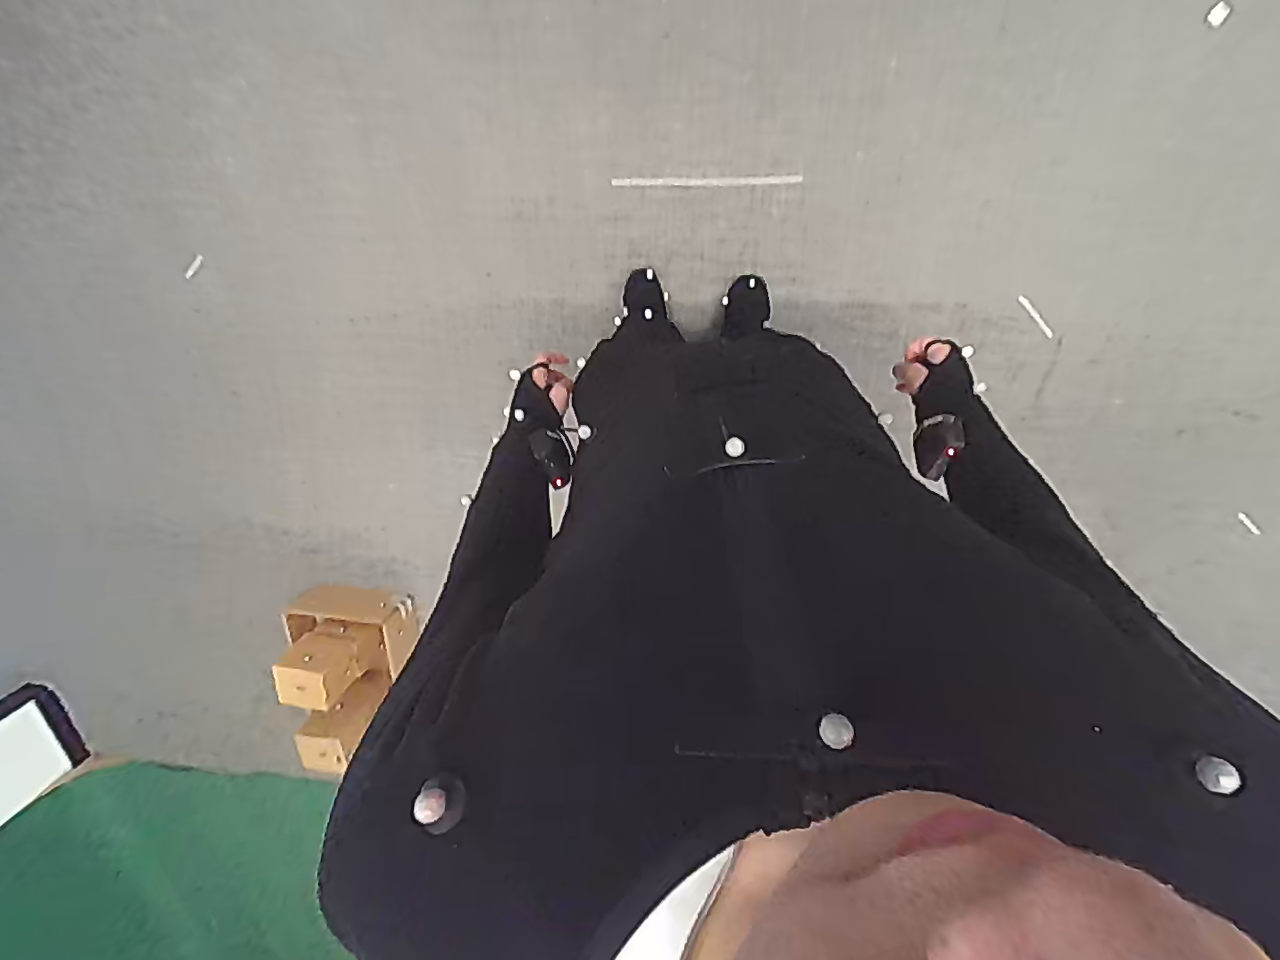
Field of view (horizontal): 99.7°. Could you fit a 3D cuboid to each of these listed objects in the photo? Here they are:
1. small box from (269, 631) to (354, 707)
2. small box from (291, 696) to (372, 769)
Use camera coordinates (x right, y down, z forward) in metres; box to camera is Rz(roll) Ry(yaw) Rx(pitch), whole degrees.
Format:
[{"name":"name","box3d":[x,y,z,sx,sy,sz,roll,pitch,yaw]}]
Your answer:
[{"name":"small box","box3d":[-1.114,0.638,1.846,0.179,0.176,0.168,8,114,3]},{"name":"small box","box3d":[-1.115,0.913,1.966,0.179,0.176,0.168,3,114,8]}]
